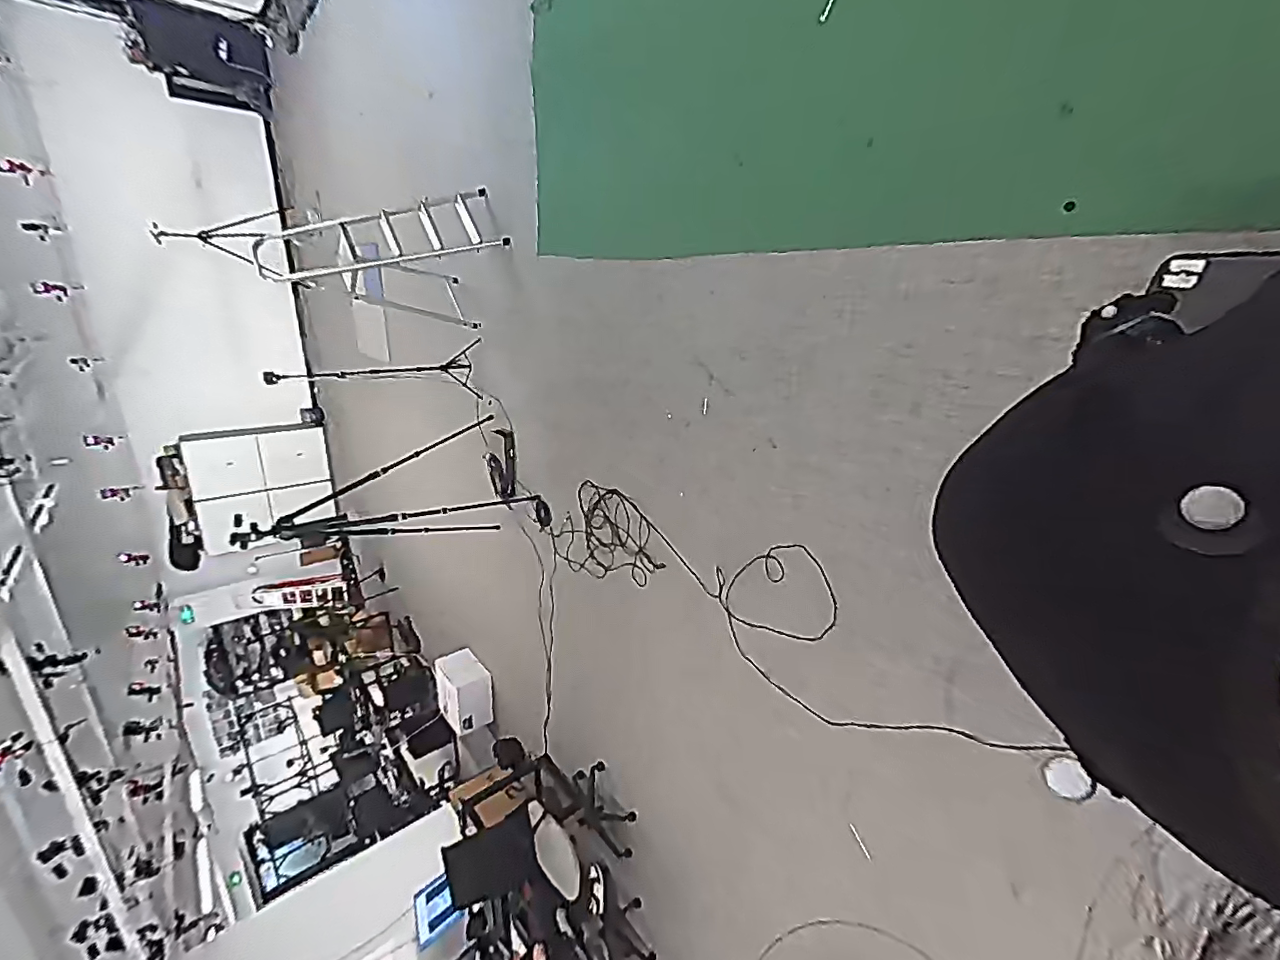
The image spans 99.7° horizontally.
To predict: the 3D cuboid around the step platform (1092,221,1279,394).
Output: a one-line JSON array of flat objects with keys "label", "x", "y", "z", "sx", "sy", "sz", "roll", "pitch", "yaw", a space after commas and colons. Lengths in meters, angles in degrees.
[{"label": "step platform", "x": 1.148, "y": -0.251, "z": 0.817, "sx": 0.684, "sy": 0.204, "sz": 0.286, "roll": 22, "pitch": 118, "yaw": 46}]
